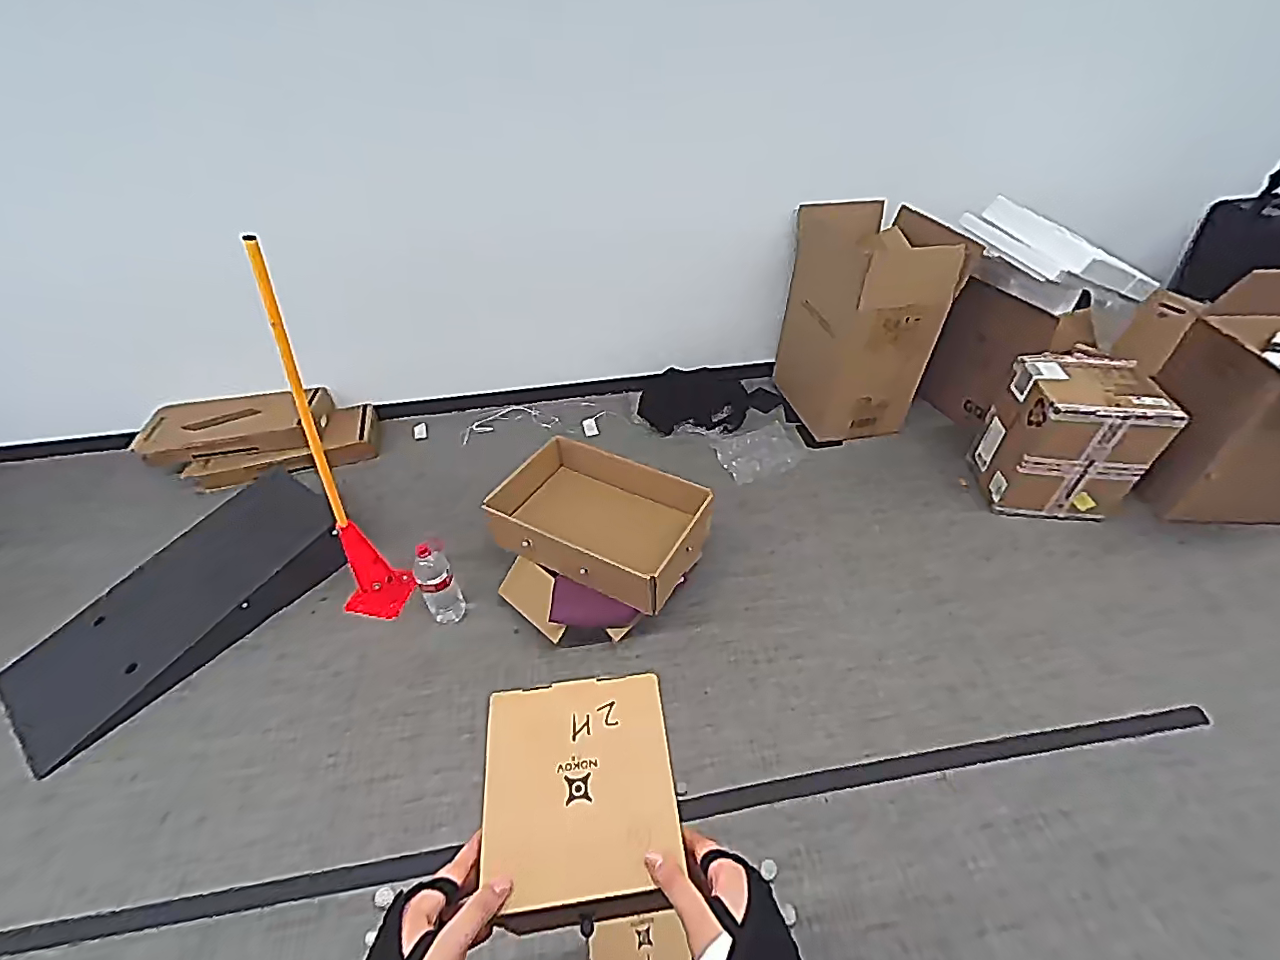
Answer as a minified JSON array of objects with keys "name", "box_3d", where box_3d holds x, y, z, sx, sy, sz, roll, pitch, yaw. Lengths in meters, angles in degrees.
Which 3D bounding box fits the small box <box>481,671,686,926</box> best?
[{"name":"small box","box_3d":[-0.051,0.317,0.534,0.168,0.176,0.179,-6,46,-5]}]

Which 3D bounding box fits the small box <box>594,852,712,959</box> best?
[{"name":"small box","box_3d":[0.017,0.726,0.851,0.168,0.176,0.179,-8,42,-7]}]
